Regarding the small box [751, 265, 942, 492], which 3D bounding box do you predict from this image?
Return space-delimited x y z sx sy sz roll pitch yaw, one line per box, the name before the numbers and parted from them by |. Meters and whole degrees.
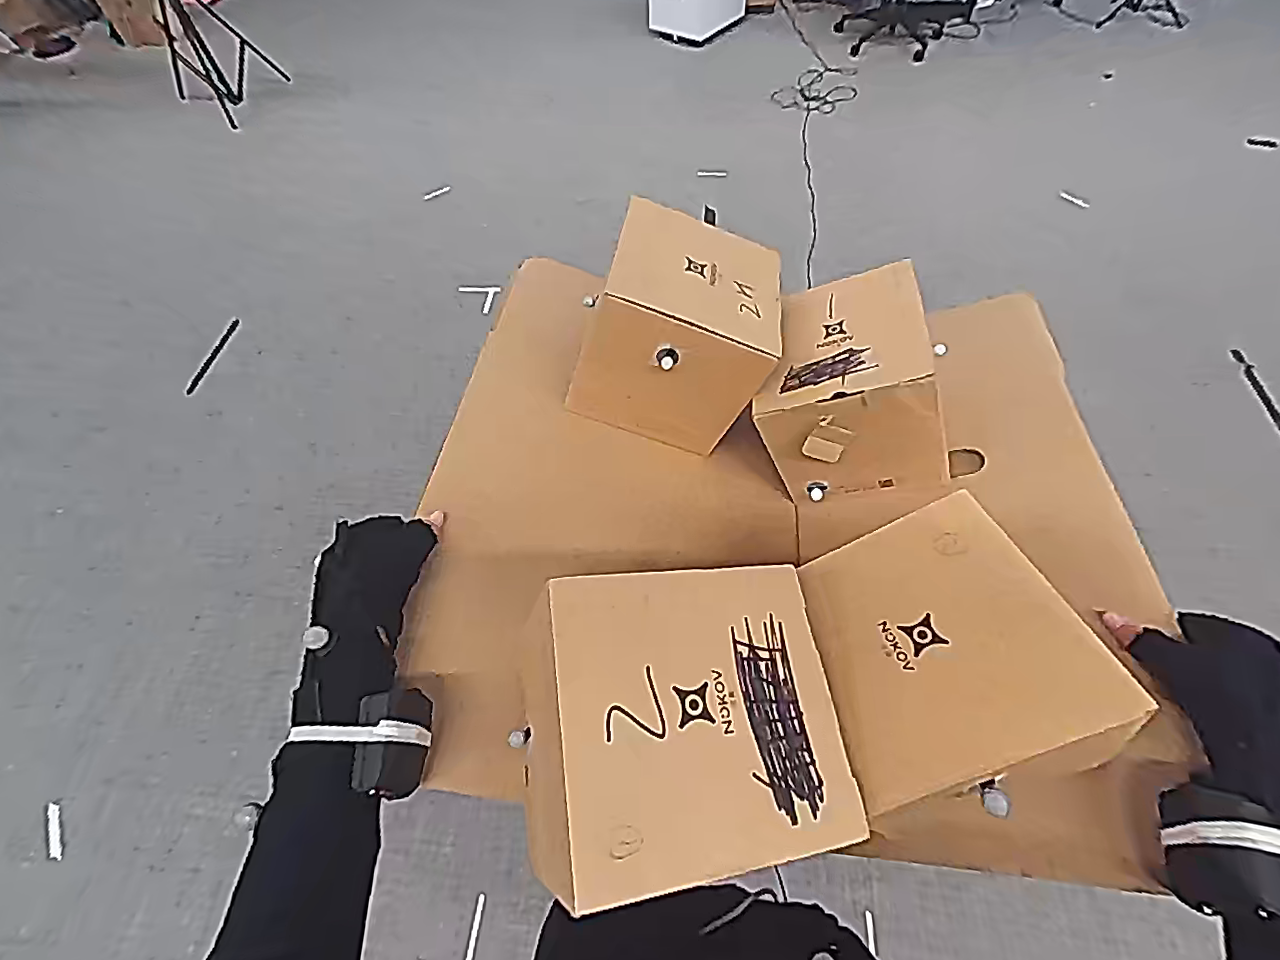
small box | 0.234 -0.100 0.612 0.168 0.176 0.179 -10 50 27
